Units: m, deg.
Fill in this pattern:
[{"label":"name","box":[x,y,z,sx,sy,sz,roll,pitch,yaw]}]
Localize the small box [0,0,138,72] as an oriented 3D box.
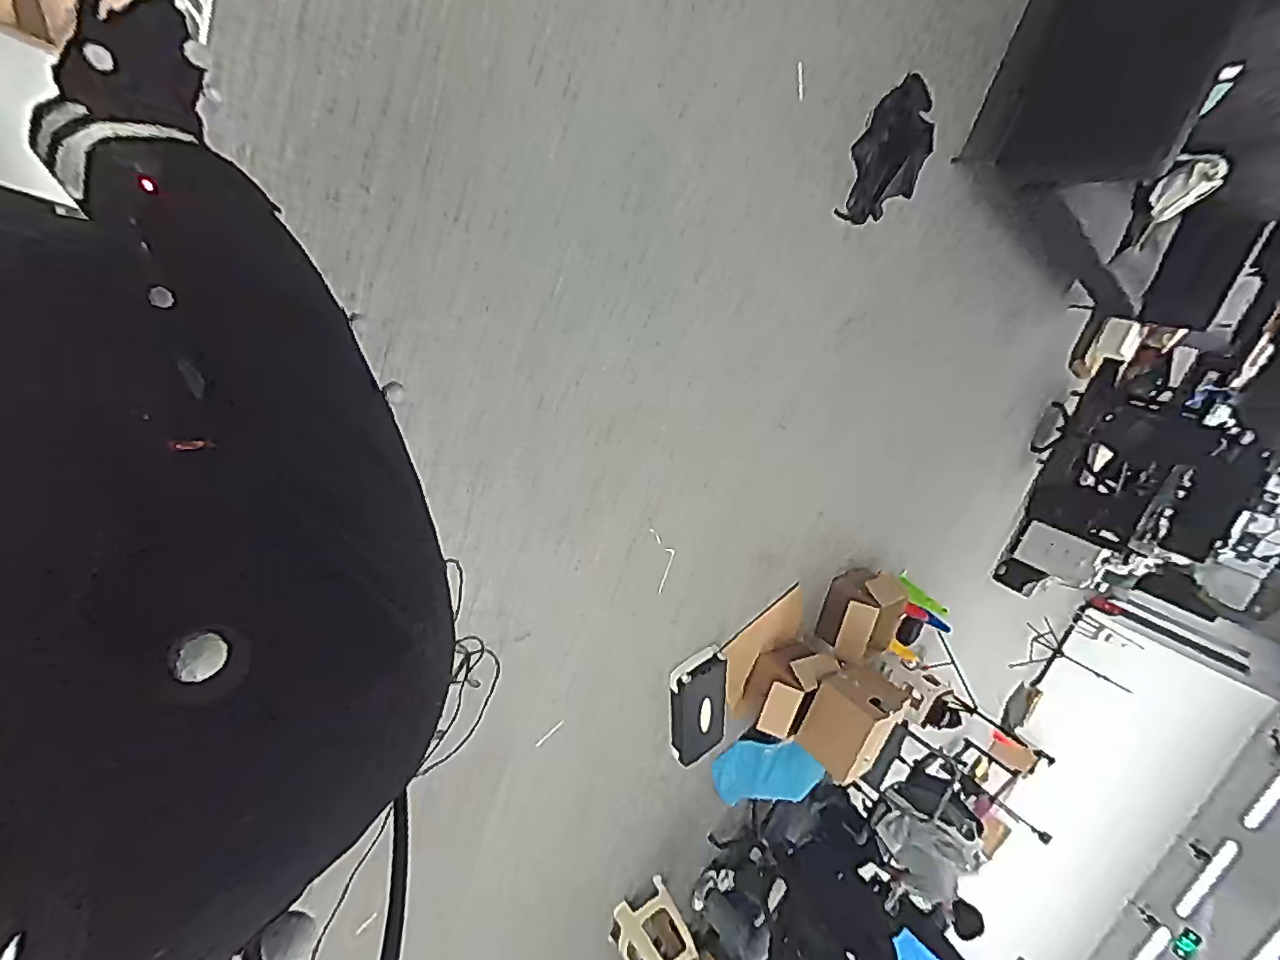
[{"label":"small box","box":[-0.436,-0.392,0.339,0.179,0.176,0.168,9,111,-44]}]
